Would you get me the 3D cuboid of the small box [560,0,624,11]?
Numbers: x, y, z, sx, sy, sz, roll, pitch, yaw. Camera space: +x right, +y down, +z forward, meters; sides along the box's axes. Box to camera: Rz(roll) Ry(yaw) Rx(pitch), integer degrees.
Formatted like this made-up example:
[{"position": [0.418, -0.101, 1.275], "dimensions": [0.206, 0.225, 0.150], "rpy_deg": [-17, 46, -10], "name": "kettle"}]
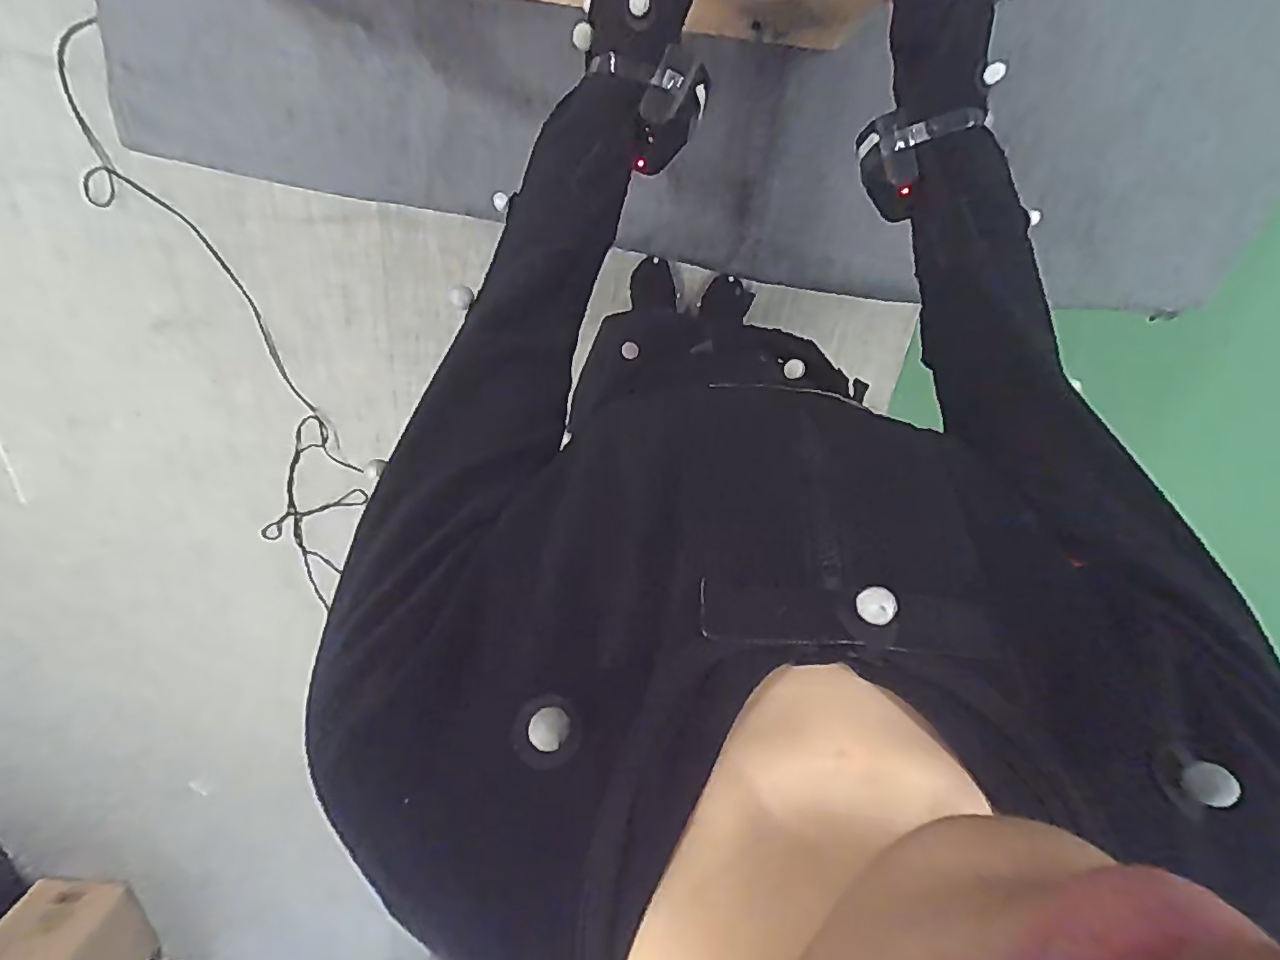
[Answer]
[{"position": [-0.085, -0.513, 0.424], "dimensions": [0.168, 0.176, 0.179], "rpy_deg": [8, 114, -2], "name": "small box"}]
